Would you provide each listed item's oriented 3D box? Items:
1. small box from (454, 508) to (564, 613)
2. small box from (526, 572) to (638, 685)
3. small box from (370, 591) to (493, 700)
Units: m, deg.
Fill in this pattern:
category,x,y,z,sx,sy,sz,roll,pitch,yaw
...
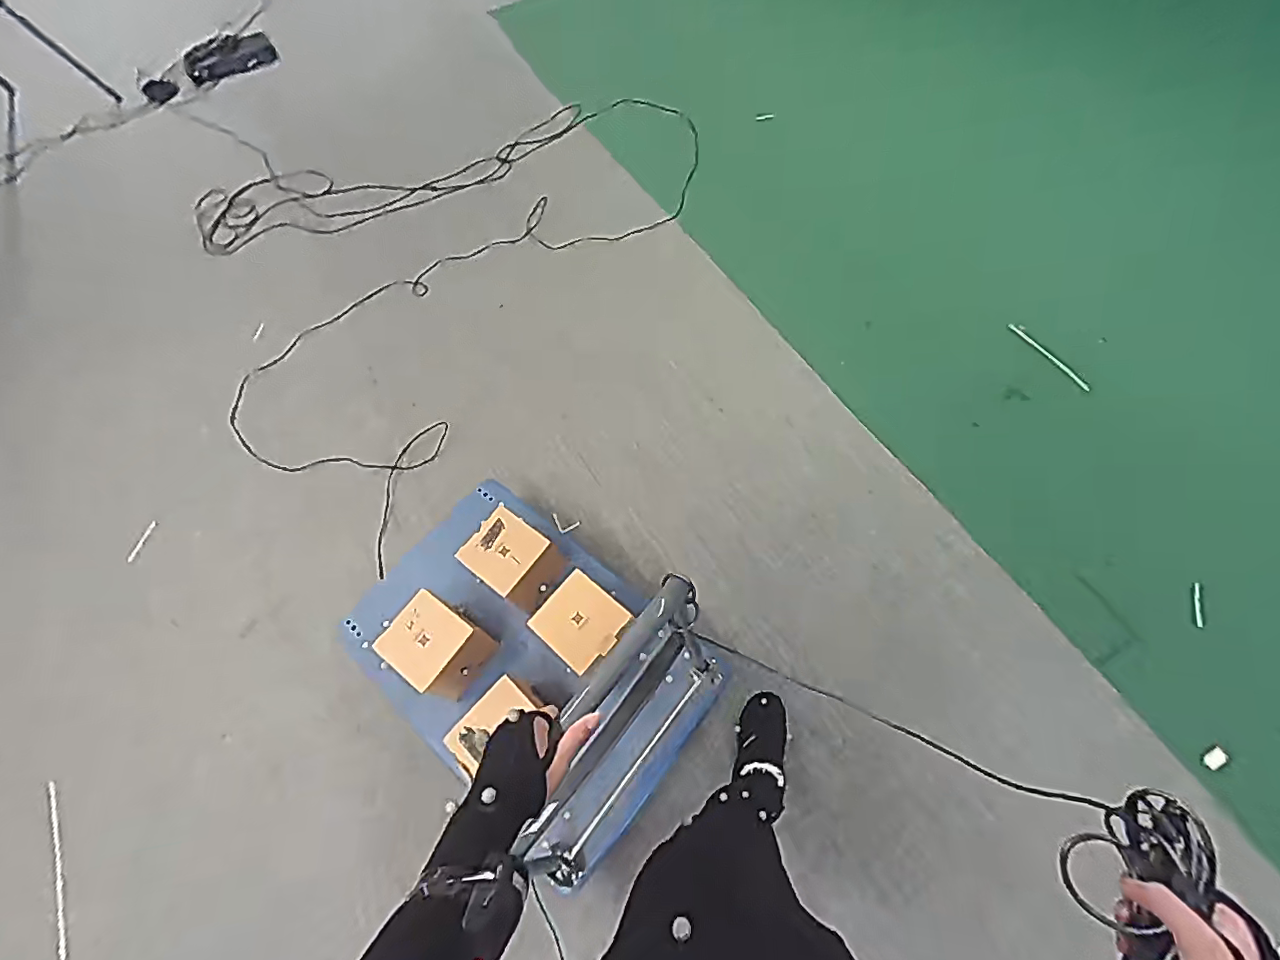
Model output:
category,x,y,z,sx,sy,sz,roll,pitch,yaw
small box,-0.316,0.204,1.335,0.179,0.176,0.168,33,71,21
small box,-0.124,0.345,1.235,0.179,0.176,0.168,36,72,23
small box,-0.474,0.391,1.258,0.179,0.176,0.168,31,70,22
